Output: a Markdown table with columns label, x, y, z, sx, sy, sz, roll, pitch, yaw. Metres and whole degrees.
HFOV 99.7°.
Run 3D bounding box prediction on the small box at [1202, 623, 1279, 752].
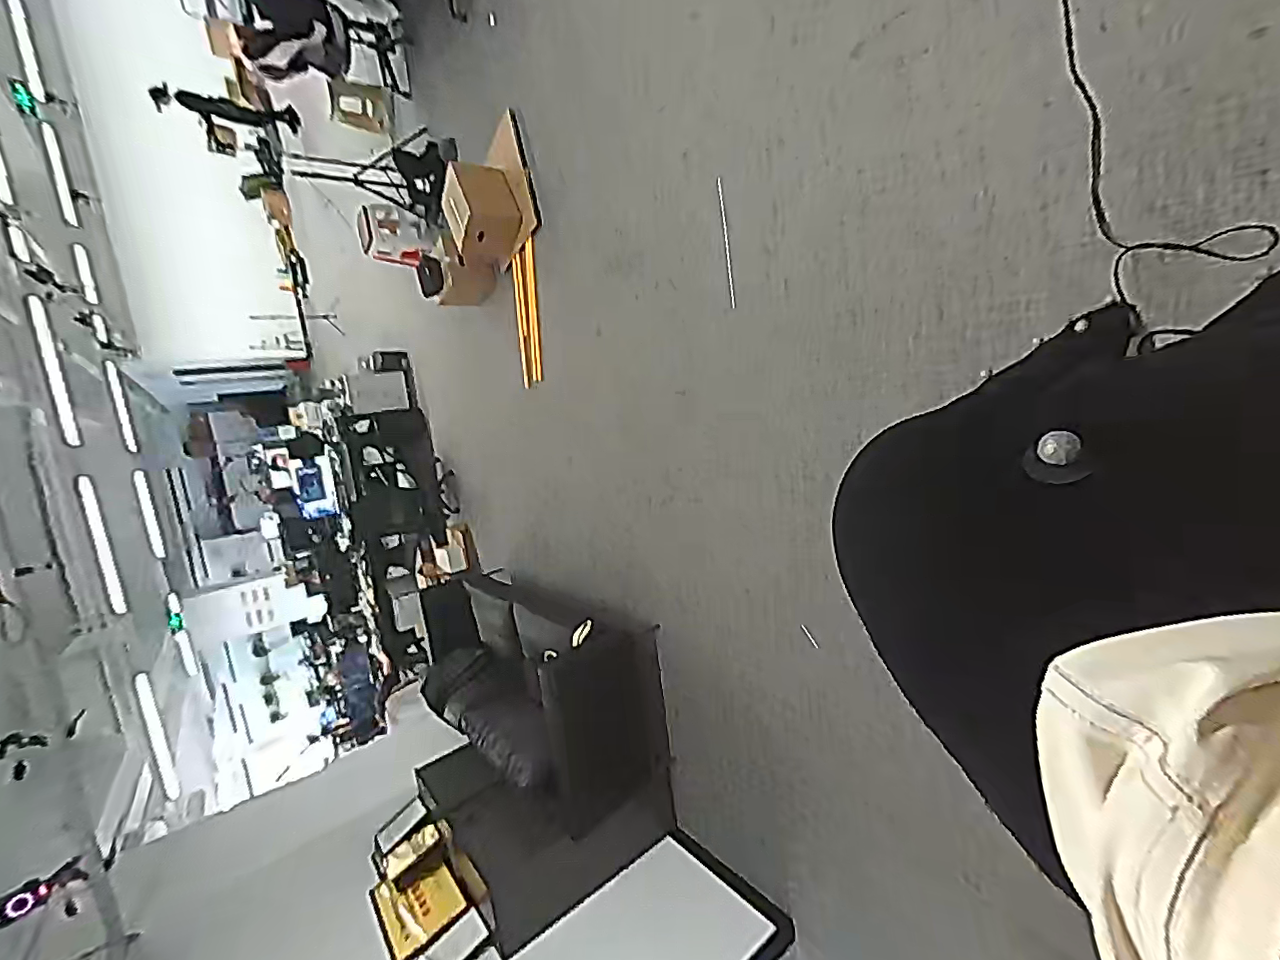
| label | x | y | z | sx | sy | sz | roll | pitch | yaw |
| --- | --- | --- | --- | --- | --- | --- | --- | --- | --- |
| small box | 1.245 | 0.409 | 1.058 | 0.168 | 0.176 | 0.179 | 12 | 110 | 51 |
